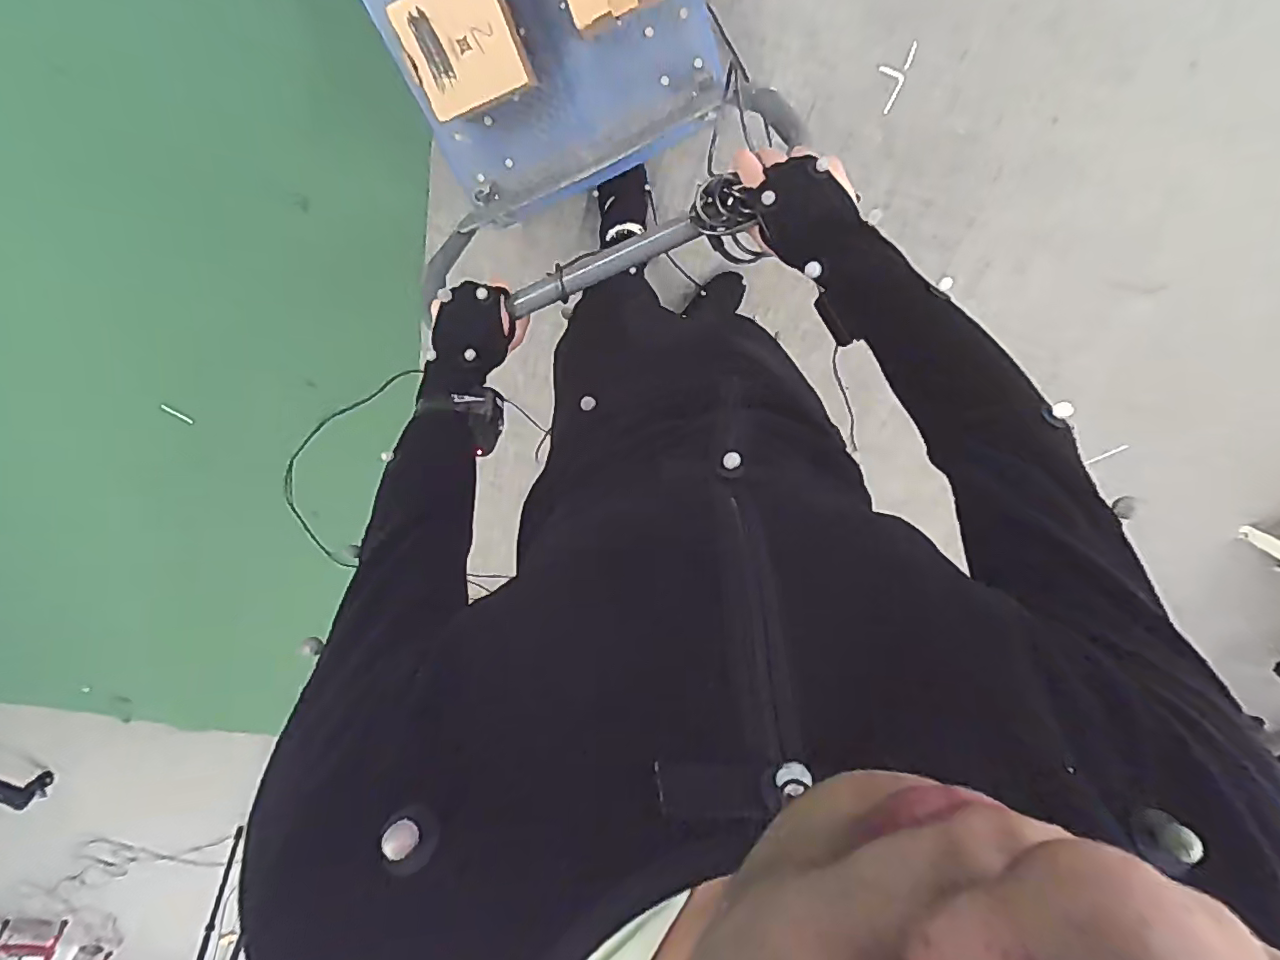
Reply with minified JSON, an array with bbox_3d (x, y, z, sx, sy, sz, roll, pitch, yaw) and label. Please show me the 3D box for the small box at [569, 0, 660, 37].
[{"bbox_3d":[-0.057,-0.869,0.885,0.168,0.176,0.179,-19,124,11],"label":"small box"}]
